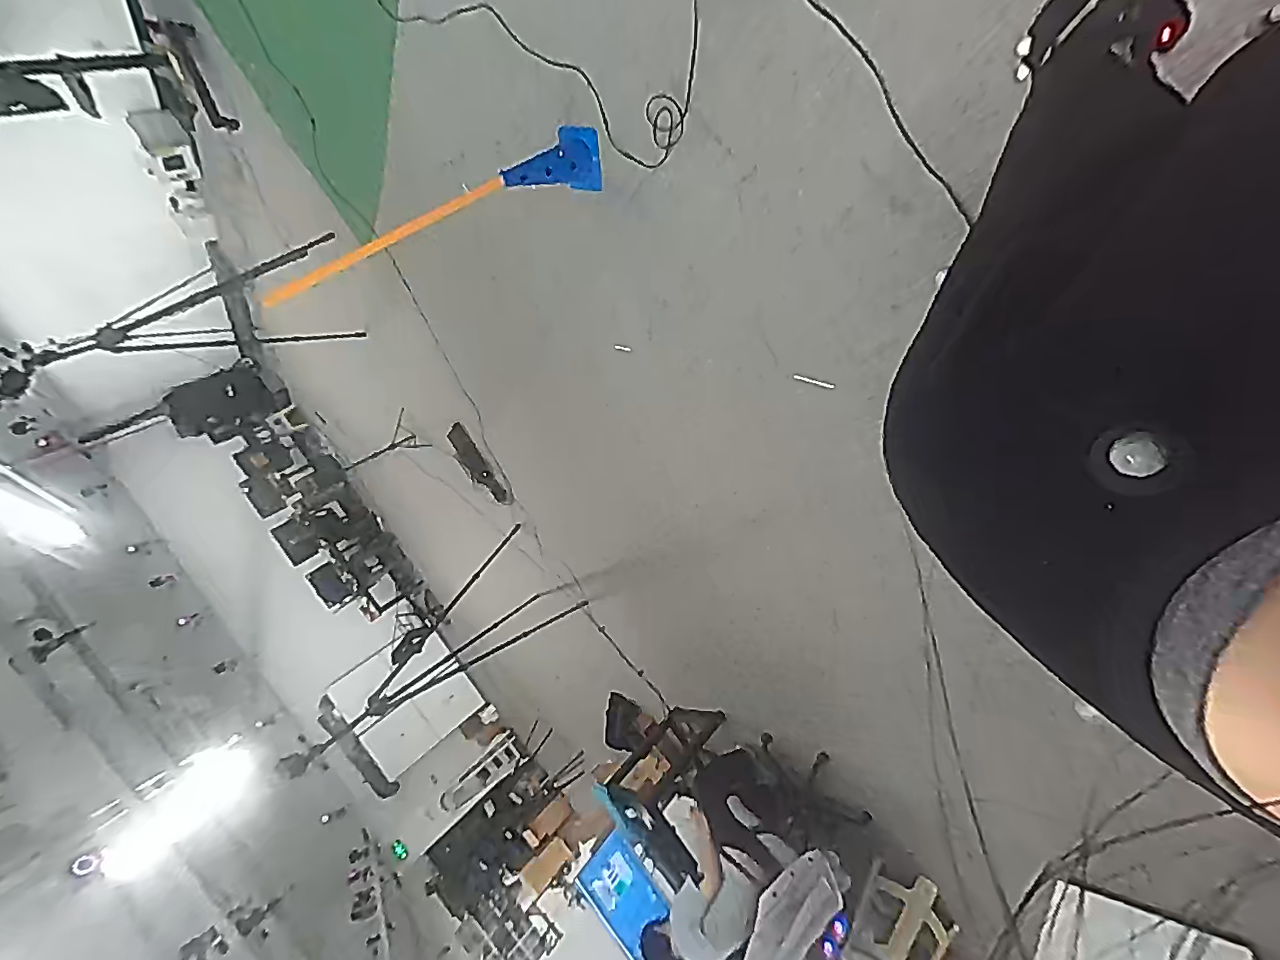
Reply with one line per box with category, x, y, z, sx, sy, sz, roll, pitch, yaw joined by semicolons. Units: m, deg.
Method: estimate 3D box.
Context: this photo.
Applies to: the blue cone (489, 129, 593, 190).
blue cone;-0.349;-1.060;1.845;0.192;0.380;0.193;26;139;33
